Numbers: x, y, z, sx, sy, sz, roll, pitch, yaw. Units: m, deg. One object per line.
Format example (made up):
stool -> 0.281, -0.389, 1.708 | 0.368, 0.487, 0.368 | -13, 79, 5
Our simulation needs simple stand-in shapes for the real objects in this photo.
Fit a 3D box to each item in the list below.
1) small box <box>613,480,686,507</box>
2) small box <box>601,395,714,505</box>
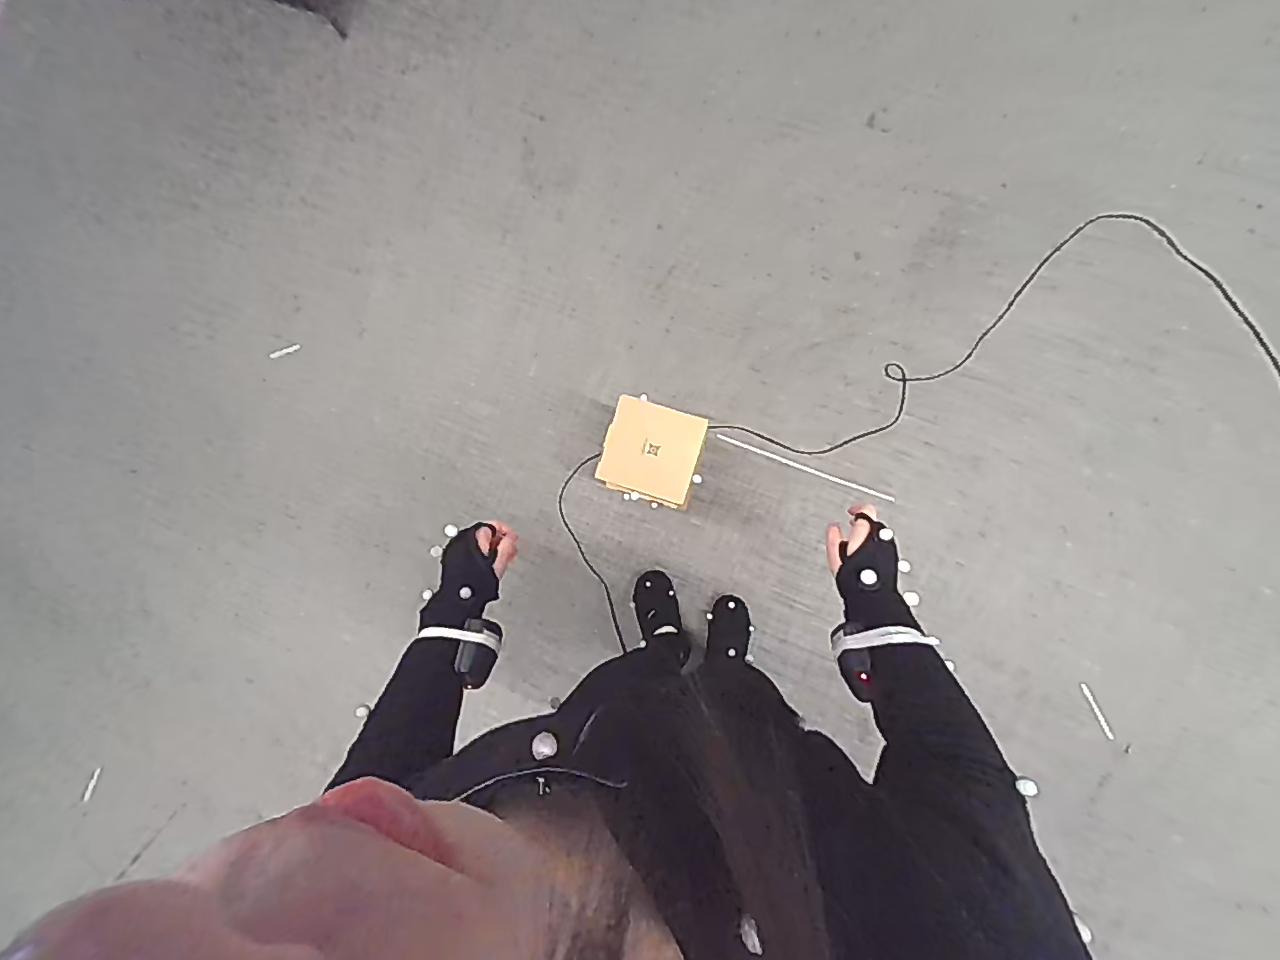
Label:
small box -> 0.053, -0.043, 1.245 | 0.168, 0.176, 0.179 | 18, 88, 9
small box -> 0.044, -0.054, 1.082 | 0.179, 0.176, 0.168 | 18, 89, 10
